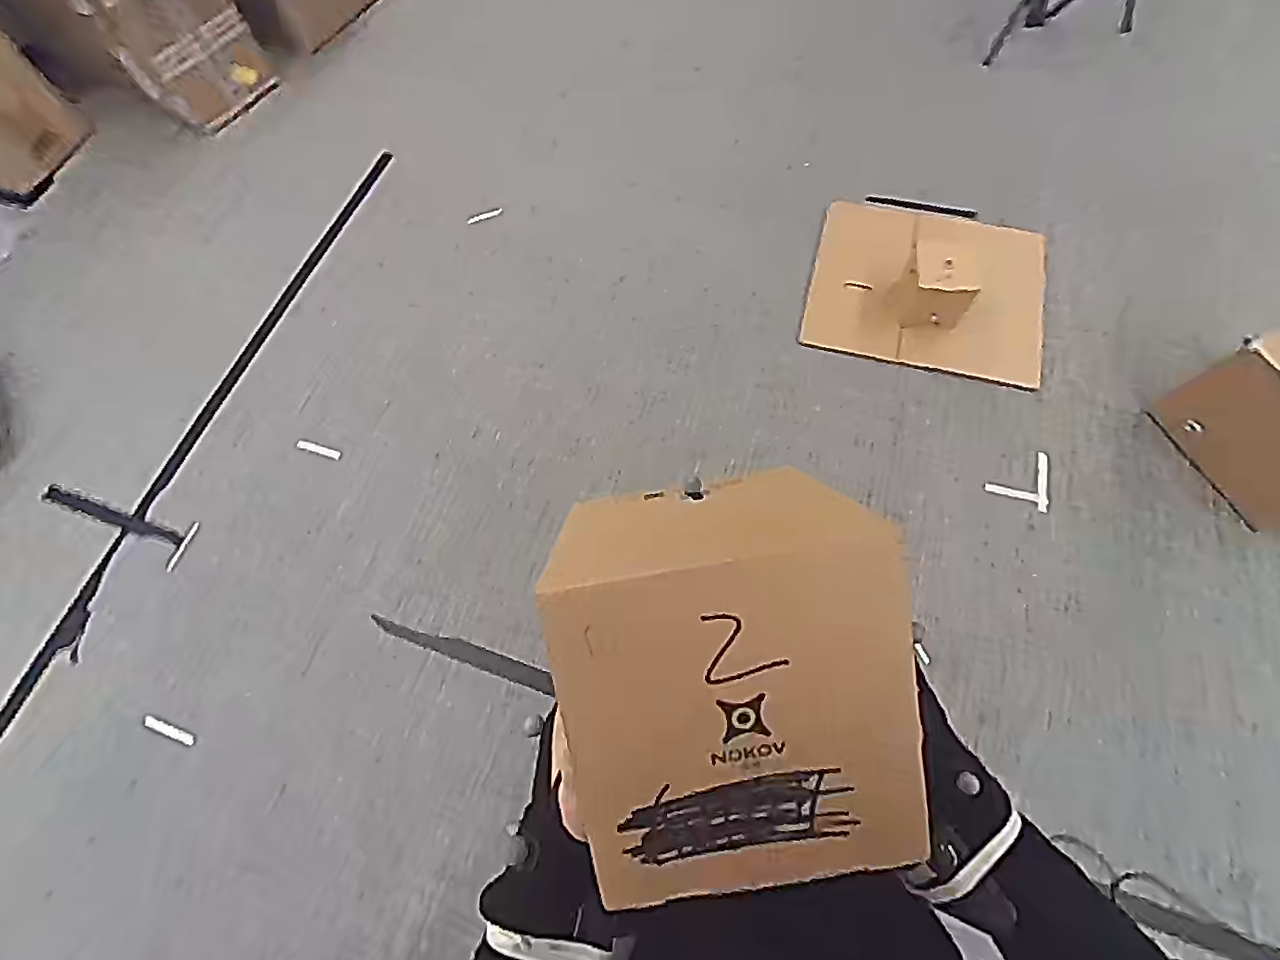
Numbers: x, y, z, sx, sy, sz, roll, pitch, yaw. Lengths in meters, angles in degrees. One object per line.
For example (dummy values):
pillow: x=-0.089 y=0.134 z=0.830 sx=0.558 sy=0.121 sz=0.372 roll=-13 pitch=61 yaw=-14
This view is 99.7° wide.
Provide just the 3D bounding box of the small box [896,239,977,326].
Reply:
small box: x=0.873 y=-0.584 z=1.608 sx=0.168 sy=0.176 sz=0.179 roll=5 pitch=69 yaw=9
